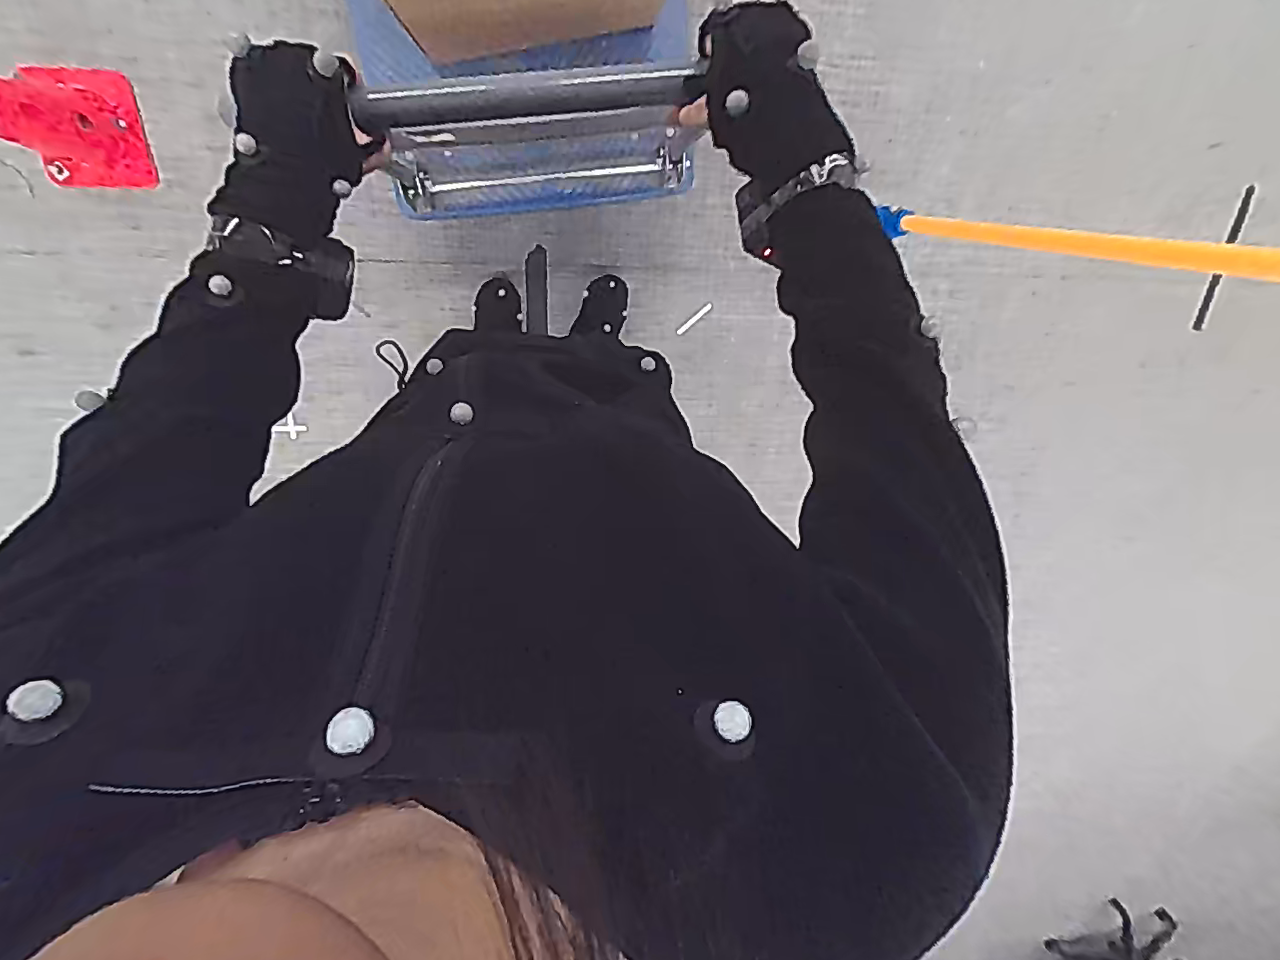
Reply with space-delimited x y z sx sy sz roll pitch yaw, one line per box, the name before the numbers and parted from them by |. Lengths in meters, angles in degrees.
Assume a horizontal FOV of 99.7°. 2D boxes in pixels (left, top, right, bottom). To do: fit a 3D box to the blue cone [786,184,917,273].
blue cone | 0.464 -0.544 1.153 0.193 0.380 0.192 -4 112 -6
